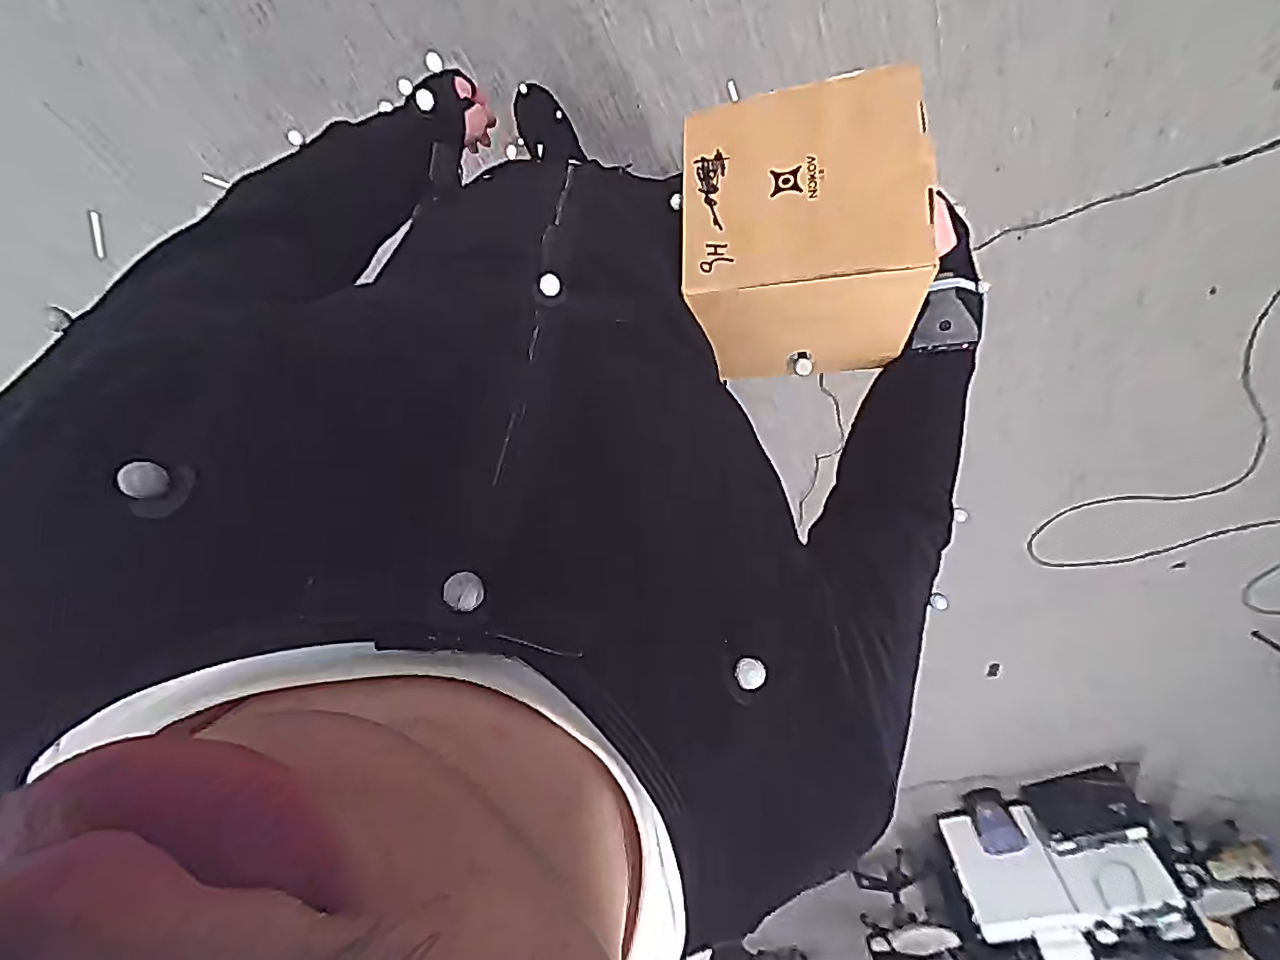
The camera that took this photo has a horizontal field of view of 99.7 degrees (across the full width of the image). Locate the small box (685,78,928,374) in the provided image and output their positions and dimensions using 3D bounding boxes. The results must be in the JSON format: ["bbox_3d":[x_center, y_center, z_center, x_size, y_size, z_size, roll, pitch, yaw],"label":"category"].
[{"bbox_3d":[0.141,-0.208,0.492,0.179,0.168,0.176,-2,167,15],"label":"small box"}]
